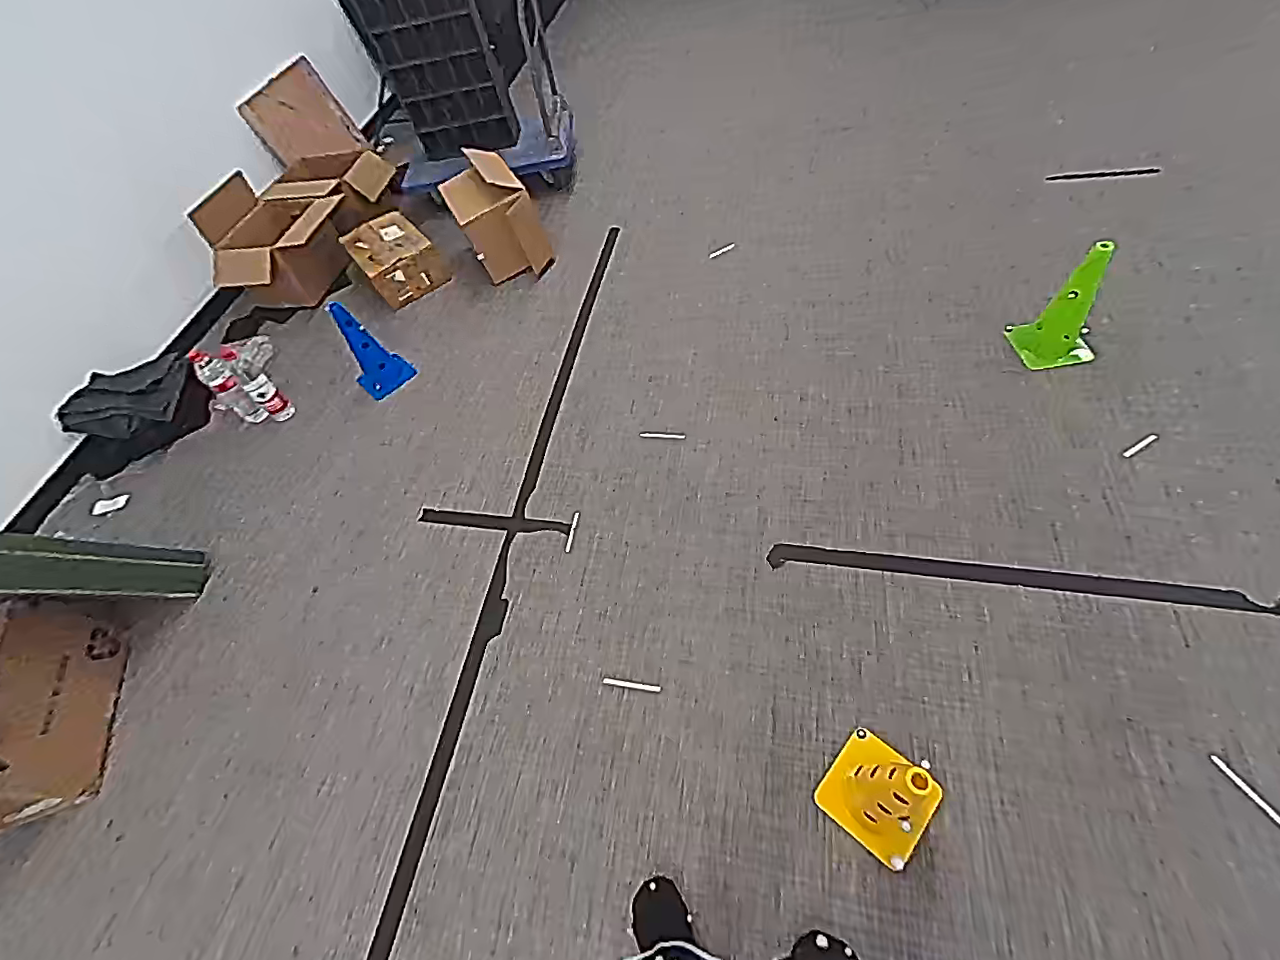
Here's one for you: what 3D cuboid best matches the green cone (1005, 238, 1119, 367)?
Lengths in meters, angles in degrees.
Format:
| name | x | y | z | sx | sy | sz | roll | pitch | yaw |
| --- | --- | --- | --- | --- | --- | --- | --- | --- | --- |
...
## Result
| name | x | y | z | sx | sy | sz | roll | pitch | yaw |
| --- | --- | --- | --- | --- | --- | --- | --- | --- | --- |
| green cone | 1.296 | -0.541 | 1.607 | 0.202 | 0.368 | 0.200 | -9 | 56 | 4 |
